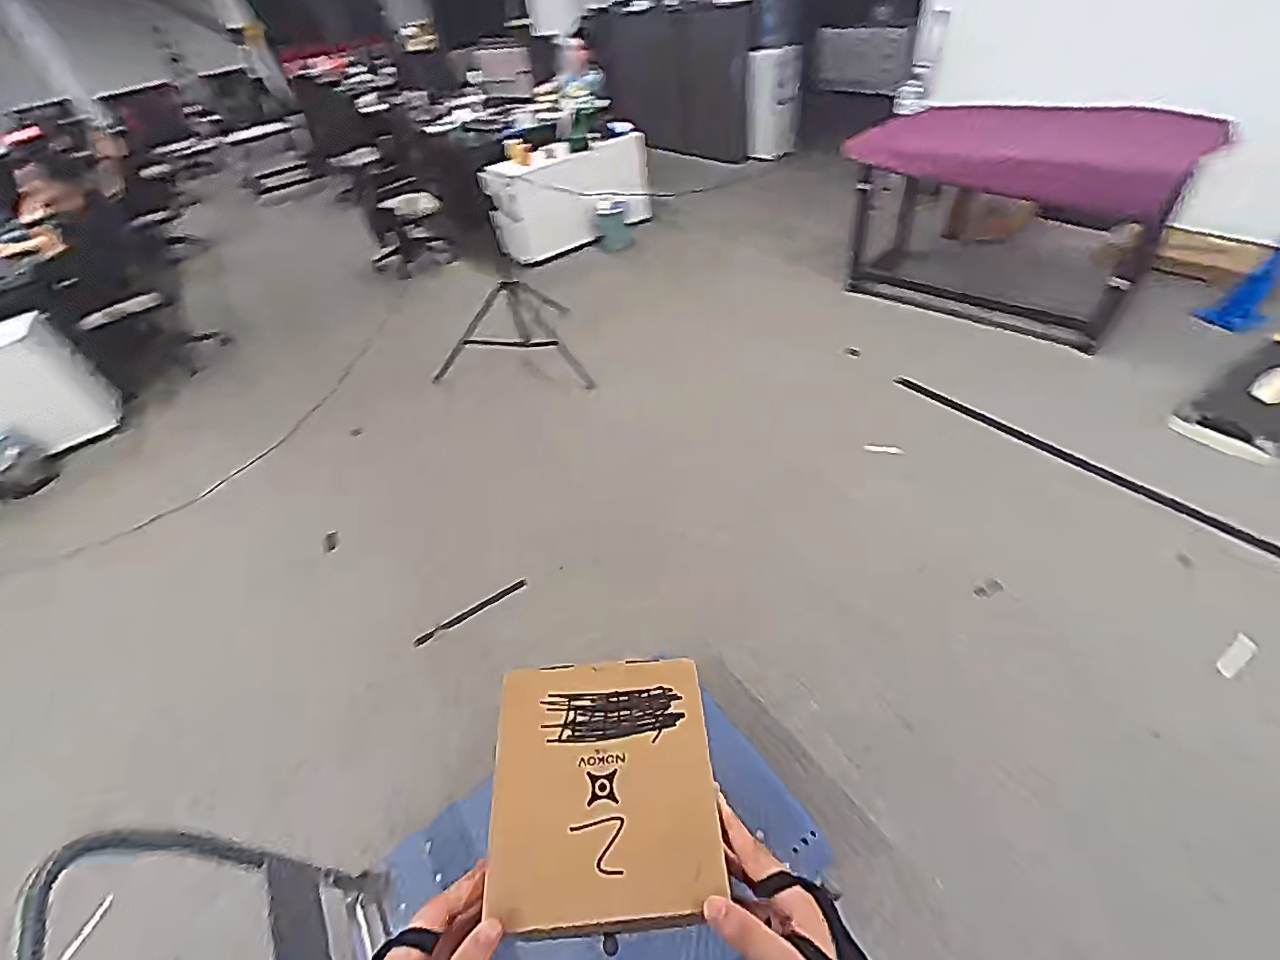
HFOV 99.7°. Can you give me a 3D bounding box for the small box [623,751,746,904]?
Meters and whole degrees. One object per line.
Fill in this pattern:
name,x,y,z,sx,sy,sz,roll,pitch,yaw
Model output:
small box,0.089,0.681,1.059,0.168,0.176,0.179,-30,47,-17
